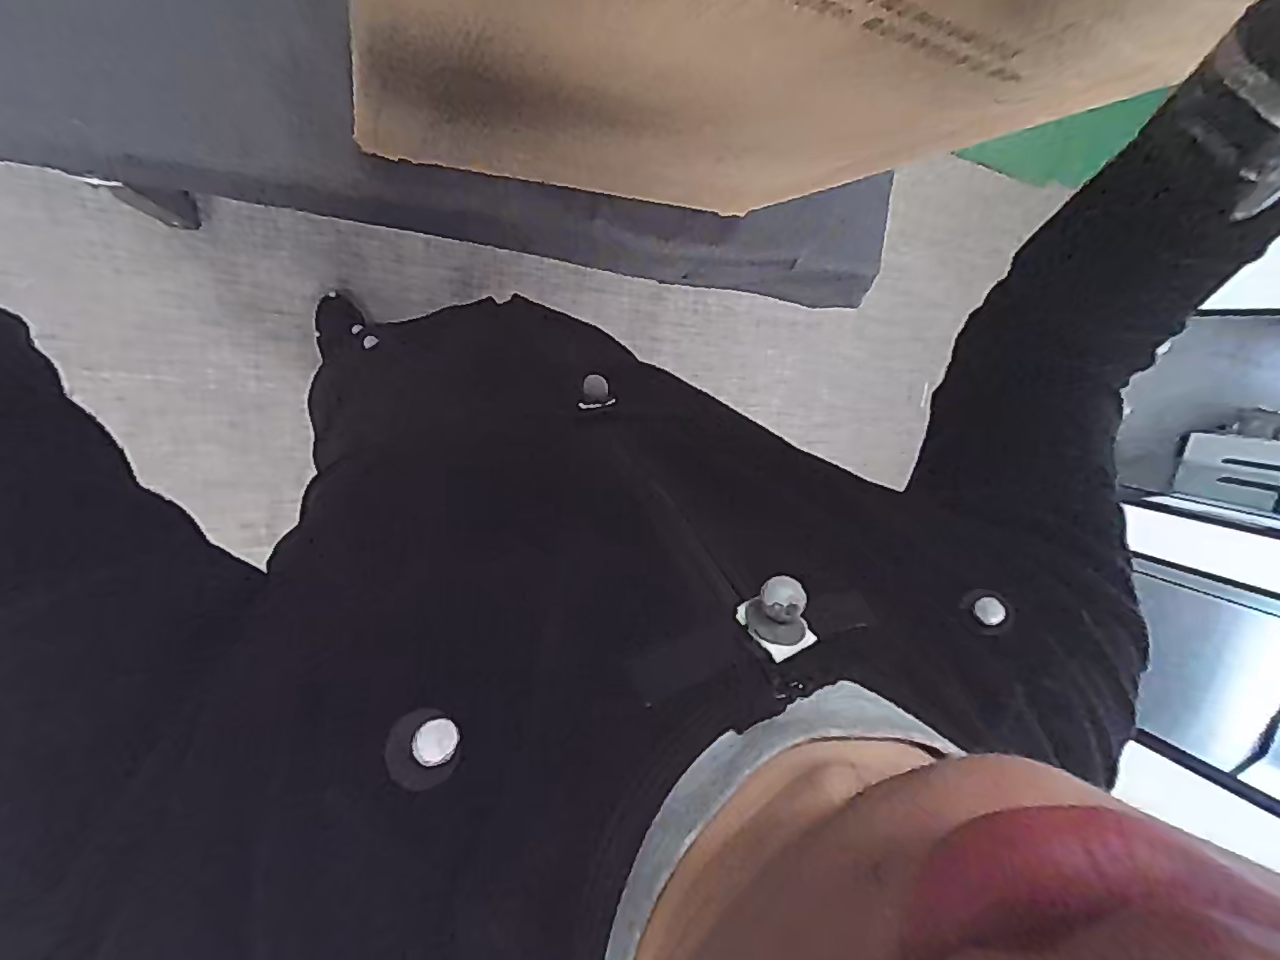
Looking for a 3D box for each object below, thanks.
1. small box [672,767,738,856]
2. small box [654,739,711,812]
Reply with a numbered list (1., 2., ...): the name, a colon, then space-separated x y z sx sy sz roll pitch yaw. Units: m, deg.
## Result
1. small box: 0.228 1.162 1.908 0.168 0.176 0.179 -15 110 -22
2. small box: 0.162 1.121 2.054 0.168 0.176 0.179 -16 113 -21
